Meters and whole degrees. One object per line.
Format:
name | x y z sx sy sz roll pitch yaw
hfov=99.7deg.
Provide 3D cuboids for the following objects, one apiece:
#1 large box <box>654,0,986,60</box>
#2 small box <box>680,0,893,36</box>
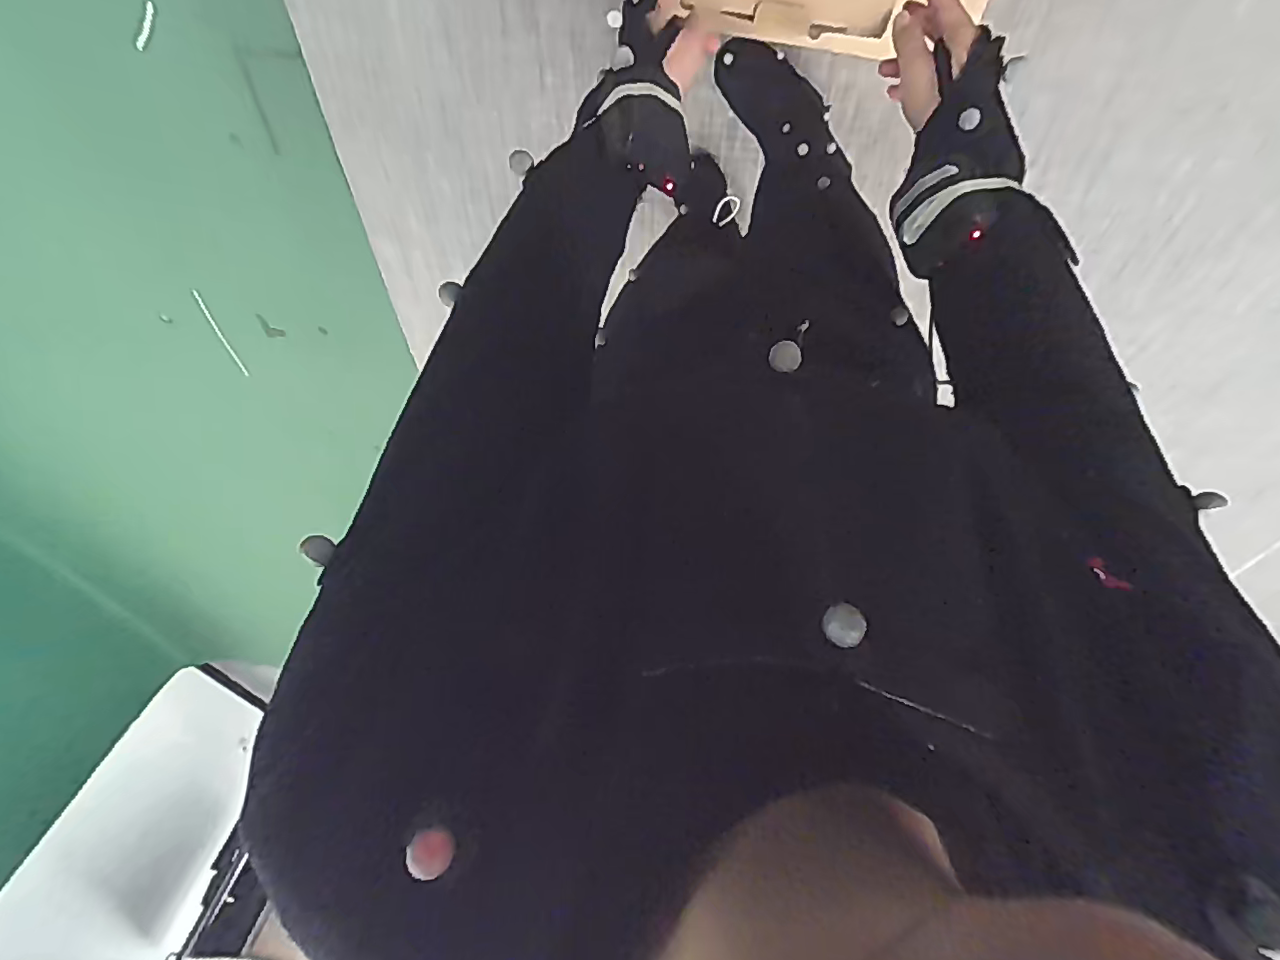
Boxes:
large box | 0.247 -0.774 0.677 0.408 0.320 0.320 11 140 2
small box | 0.130 -0.478 0.417 0.168 0.176 0.179 9 137 2
